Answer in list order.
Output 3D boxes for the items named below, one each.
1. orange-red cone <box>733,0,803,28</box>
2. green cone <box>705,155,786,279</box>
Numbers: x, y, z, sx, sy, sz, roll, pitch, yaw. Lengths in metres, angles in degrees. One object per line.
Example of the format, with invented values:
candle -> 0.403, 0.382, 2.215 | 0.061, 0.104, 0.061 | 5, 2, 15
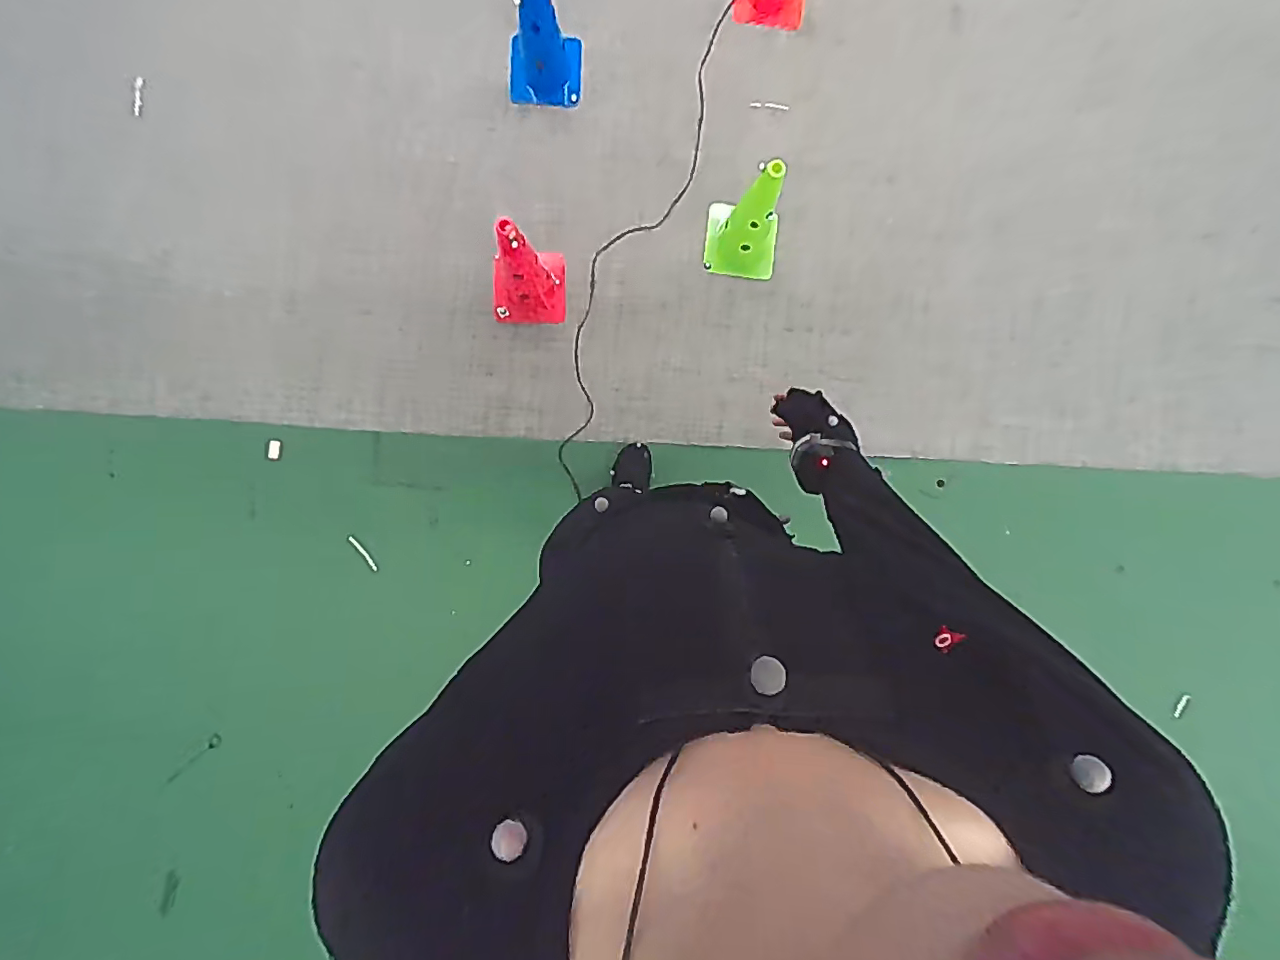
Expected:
orange-red cone -> 0.376, -1.410, 1.387 | 0.198, 0.360, 0.199 | 8, 90, -1
green cone -> 0.298, -0.683, 1.363 | 0.200, 0.368, 0.202 | 5, 87, -2
